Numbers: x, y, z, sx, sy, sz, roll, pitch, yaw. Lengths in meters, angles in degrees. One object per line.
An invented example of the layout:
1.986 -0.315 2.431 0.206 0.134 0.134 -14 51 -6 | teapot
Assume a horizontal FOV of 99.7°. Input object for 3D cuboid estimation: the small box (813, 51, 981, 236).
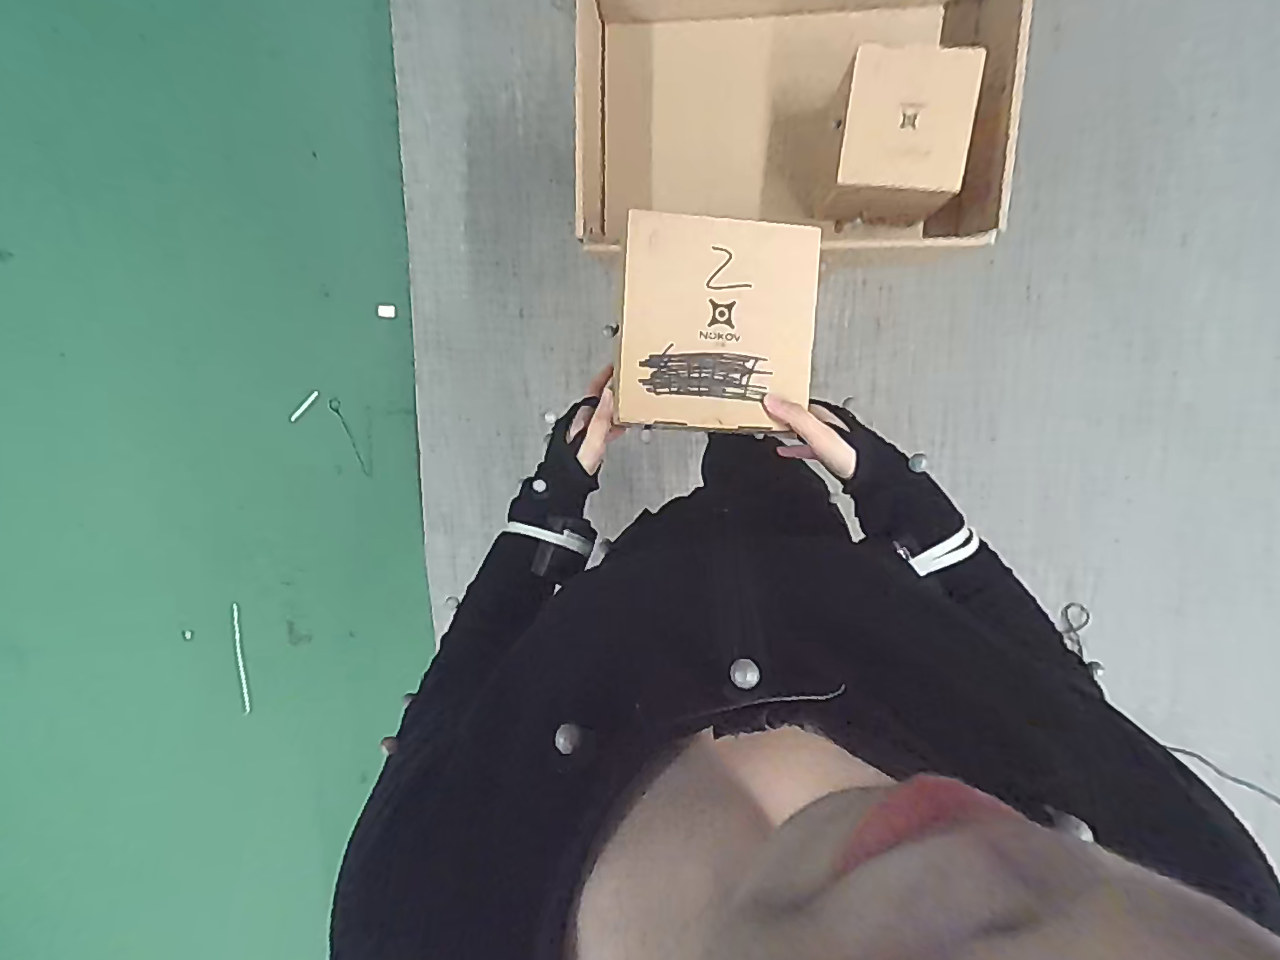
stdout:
0.366 -0.486 0.803 0.168 0.176 0.179 8 98 6 | small box
